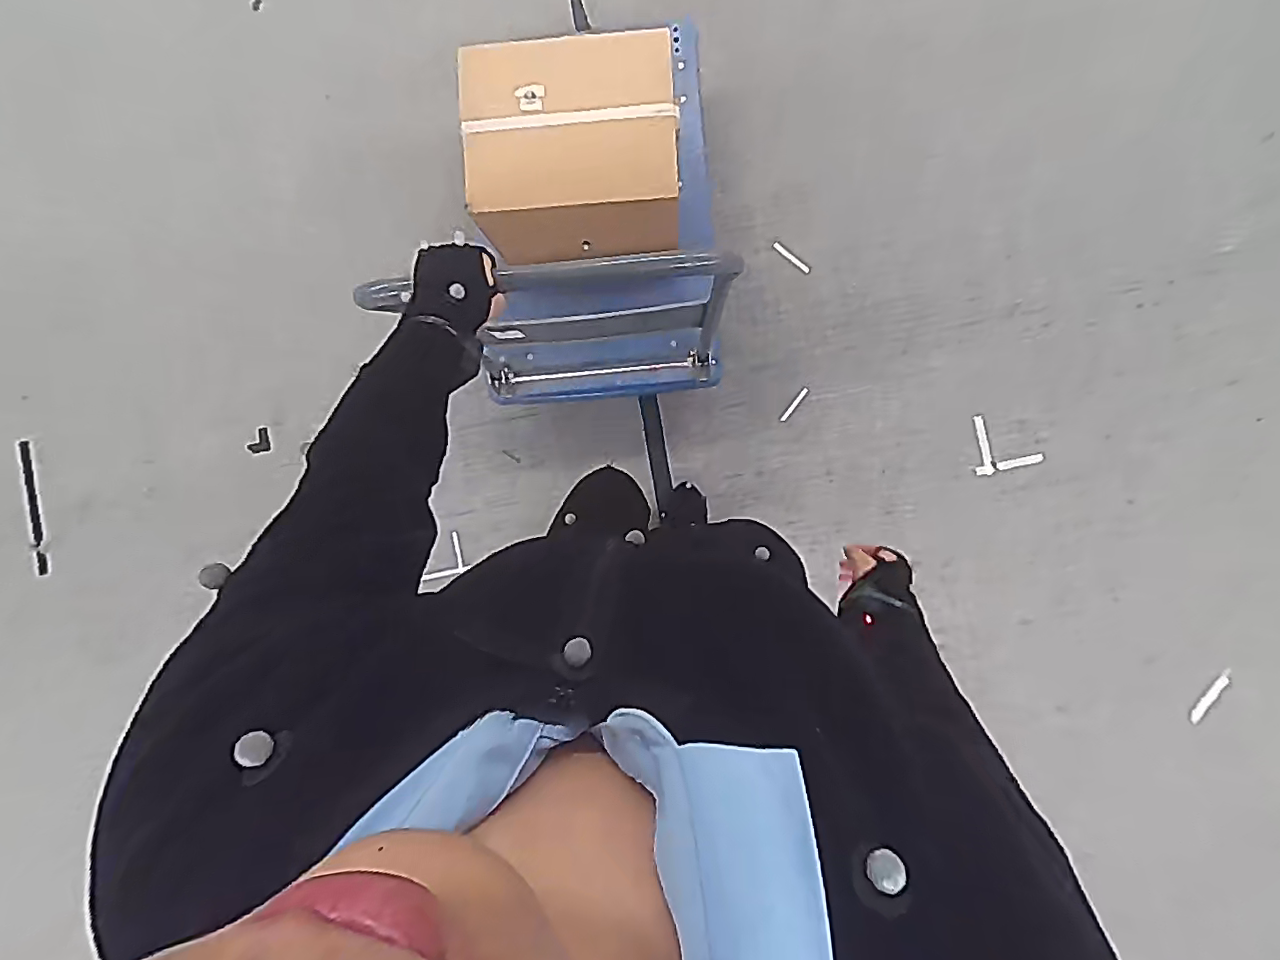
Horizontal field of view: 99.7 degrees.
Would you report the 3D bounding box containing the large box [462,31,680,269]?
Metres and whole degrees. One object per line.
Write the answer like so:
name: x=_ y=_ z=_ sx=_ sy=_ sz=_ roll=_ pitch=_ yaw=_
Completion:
large box: x=-0.124 y=-0.678 z=1.173 sx=0.408 sy=0.320 sz=0.320 roll=-3 pitch=90 yaw=4
